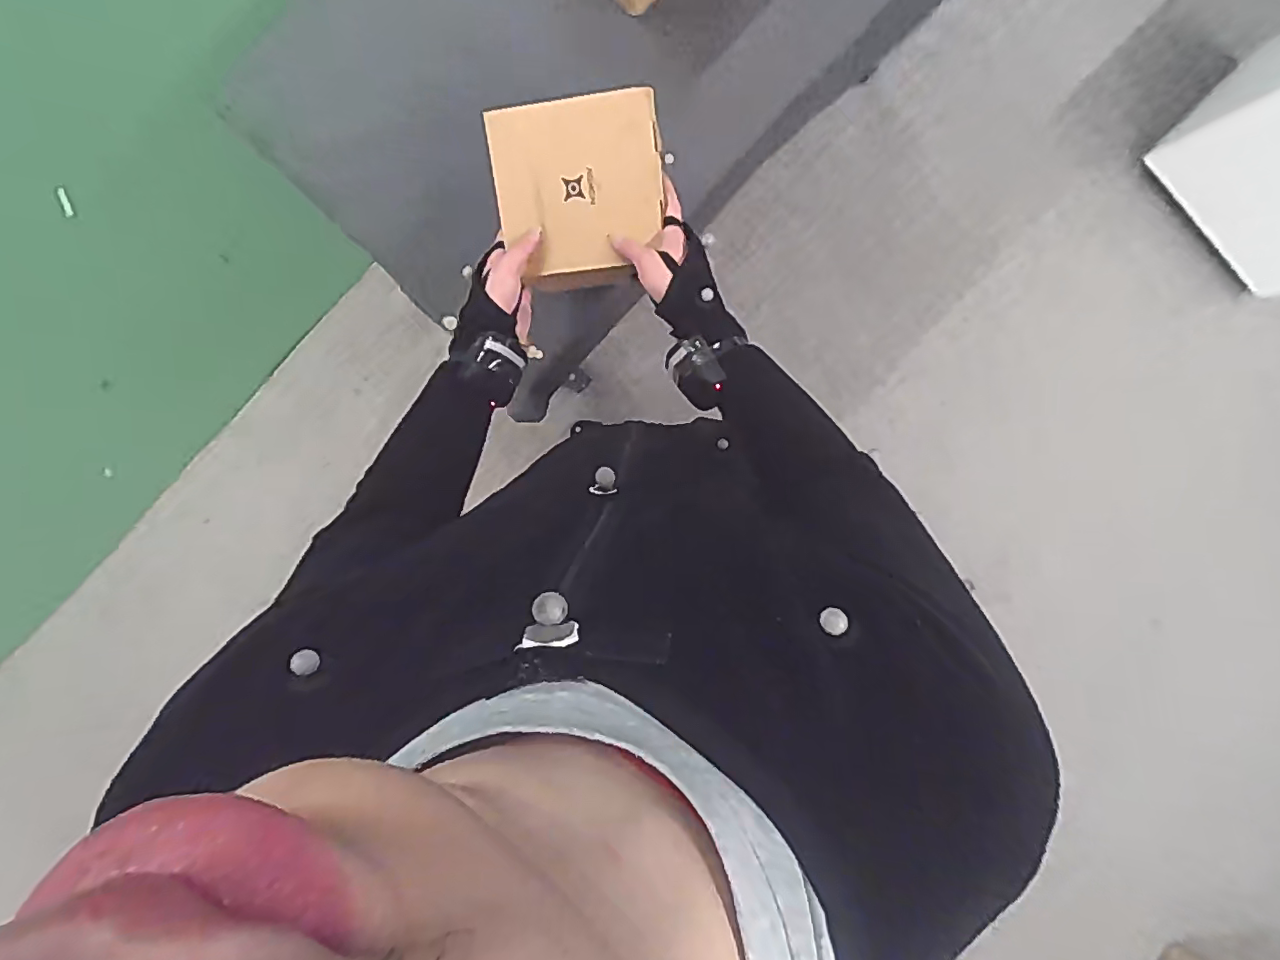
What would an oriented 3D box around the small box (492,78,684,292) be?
[{"bbox_3d":[-0.047,-0.316,0.616,0.179,0.176,0.168,-6,103,5],"label":"small box"}]
